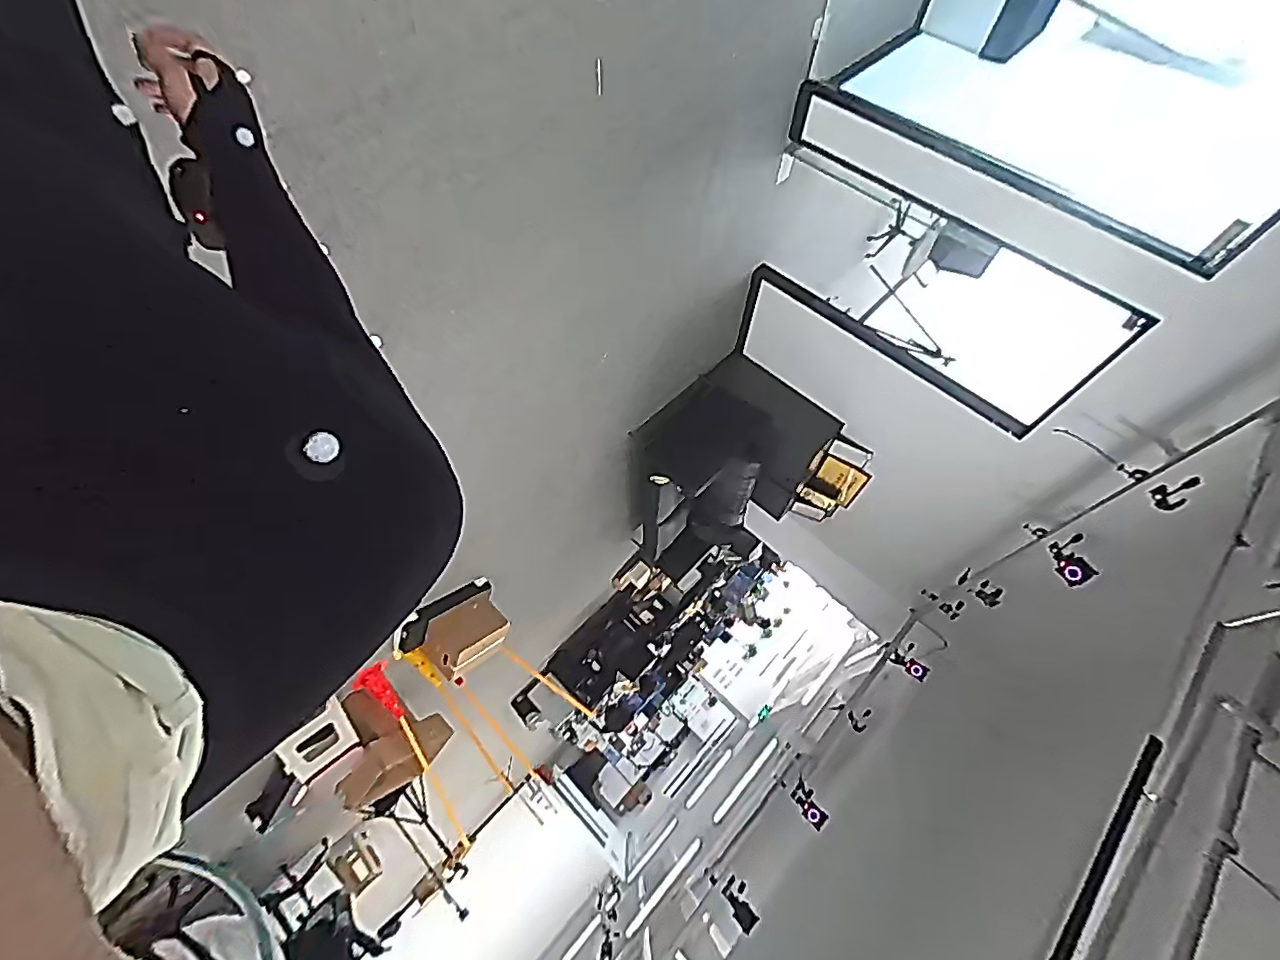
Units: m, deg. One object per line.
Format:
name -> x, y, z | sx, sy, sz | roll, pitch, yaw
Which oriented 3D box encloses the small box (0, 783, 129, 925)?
small box -> -1.236, 0.764, 1.113 | 0.179, 0.176, 0.168 | -44, 161, -16
